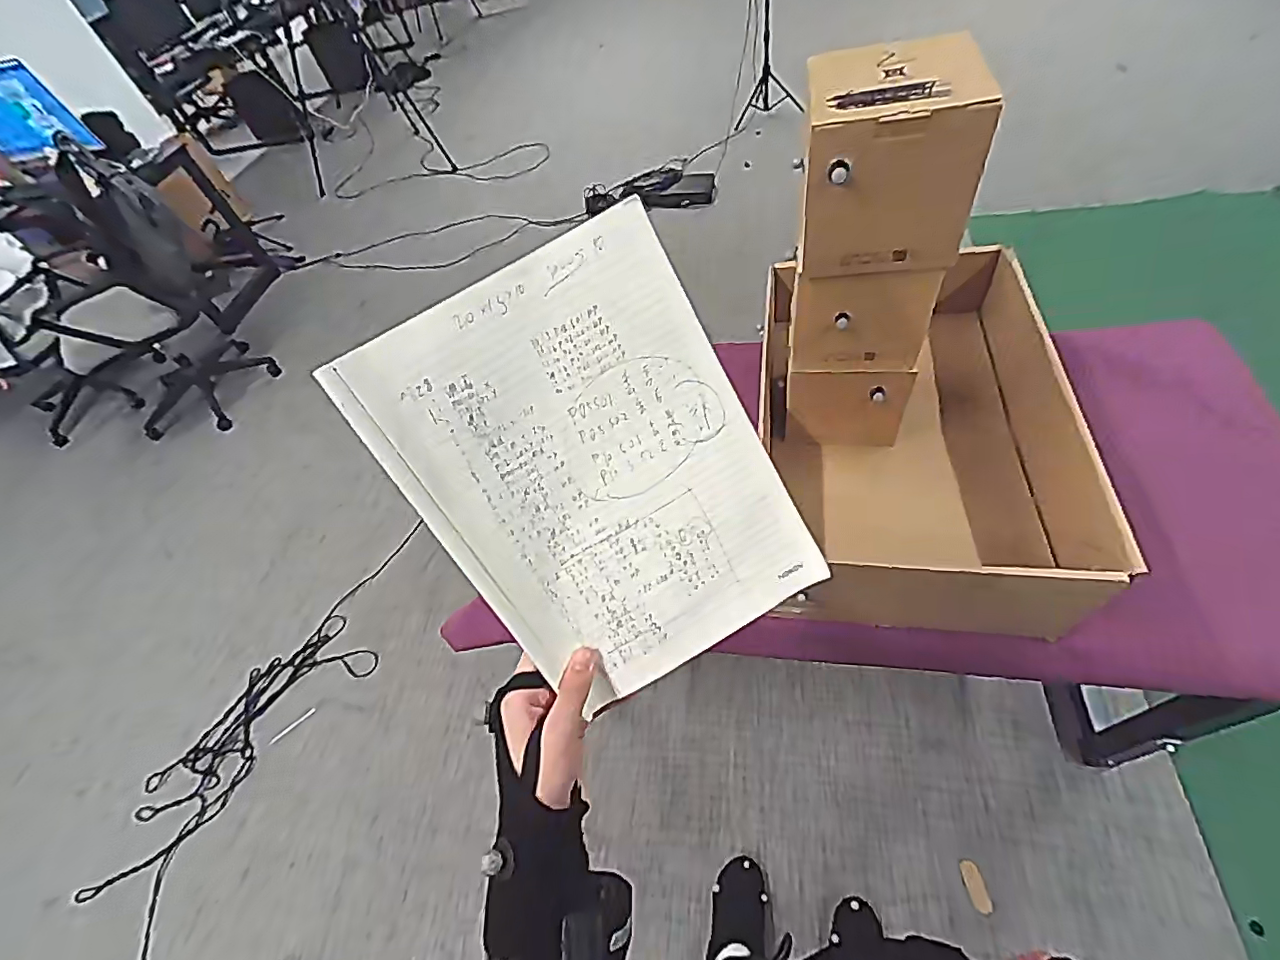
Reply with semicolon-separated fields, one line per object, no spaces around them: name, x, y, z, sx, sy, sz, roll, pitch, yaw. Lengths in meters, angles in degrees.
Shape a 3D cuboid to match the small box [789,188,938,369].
small box;0.295;-0.268;0.747;0.168;0.176;0.179;3;55;15
